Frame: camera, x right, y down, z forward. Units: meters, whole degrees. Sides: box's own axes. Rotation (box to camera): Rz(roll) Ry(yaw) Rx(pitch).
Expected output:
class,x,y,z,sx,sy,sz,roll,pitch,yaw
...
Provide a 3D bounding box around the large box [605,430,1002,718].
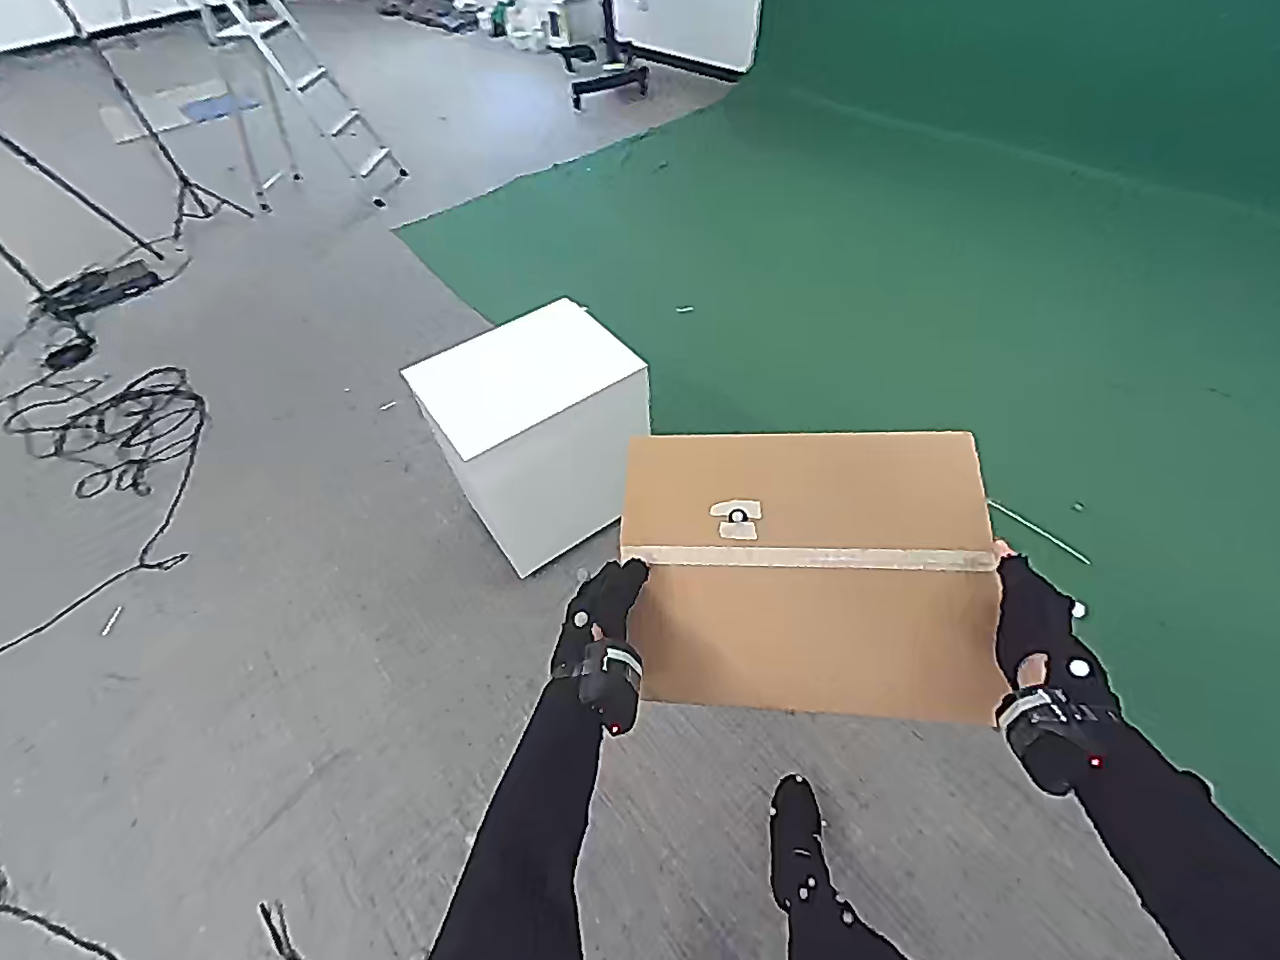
class,x,y,z,sx,sy,sz,roll,pitch,yaw
large box,0.191,0.142,0.744,0.408,0.320,0.320,-1,68,11
